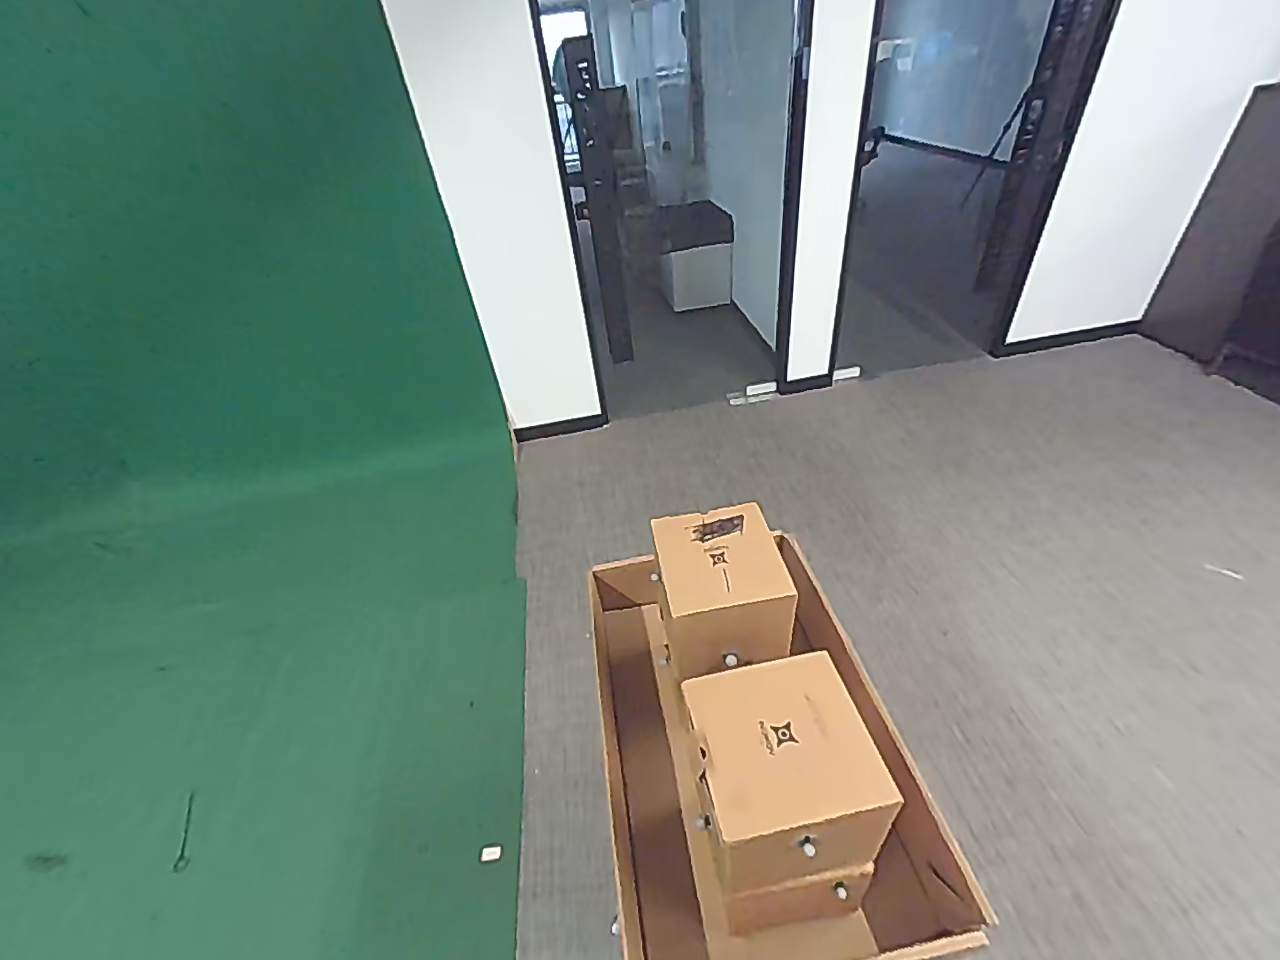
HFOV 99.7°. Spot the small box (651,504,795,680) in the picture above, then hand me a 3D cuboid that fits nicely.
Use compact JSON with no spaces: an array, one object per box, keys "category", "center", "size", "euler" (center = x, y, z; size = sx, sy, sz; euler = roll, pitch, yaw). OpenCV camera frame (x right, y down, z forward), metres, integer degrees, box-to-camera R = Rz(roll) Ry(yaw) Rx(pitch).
[{"category":"small box","center":[0.113,0.164,0.798],"size":[0.168,0.176,0.179],"euler":[-10,42,-2]}]

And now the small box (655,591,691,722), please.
[{"category":"small box","center":[0.130,0.284,0.909],"size":[0.179,0.176,0.168],"euler":[-10,42,-2]}]

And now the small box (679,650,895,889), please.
[{"category":"small box","center":[0.150,0.324,0.606],"size":[0.179,0.176,0.168],"euler":[-11,40,-5]}]
